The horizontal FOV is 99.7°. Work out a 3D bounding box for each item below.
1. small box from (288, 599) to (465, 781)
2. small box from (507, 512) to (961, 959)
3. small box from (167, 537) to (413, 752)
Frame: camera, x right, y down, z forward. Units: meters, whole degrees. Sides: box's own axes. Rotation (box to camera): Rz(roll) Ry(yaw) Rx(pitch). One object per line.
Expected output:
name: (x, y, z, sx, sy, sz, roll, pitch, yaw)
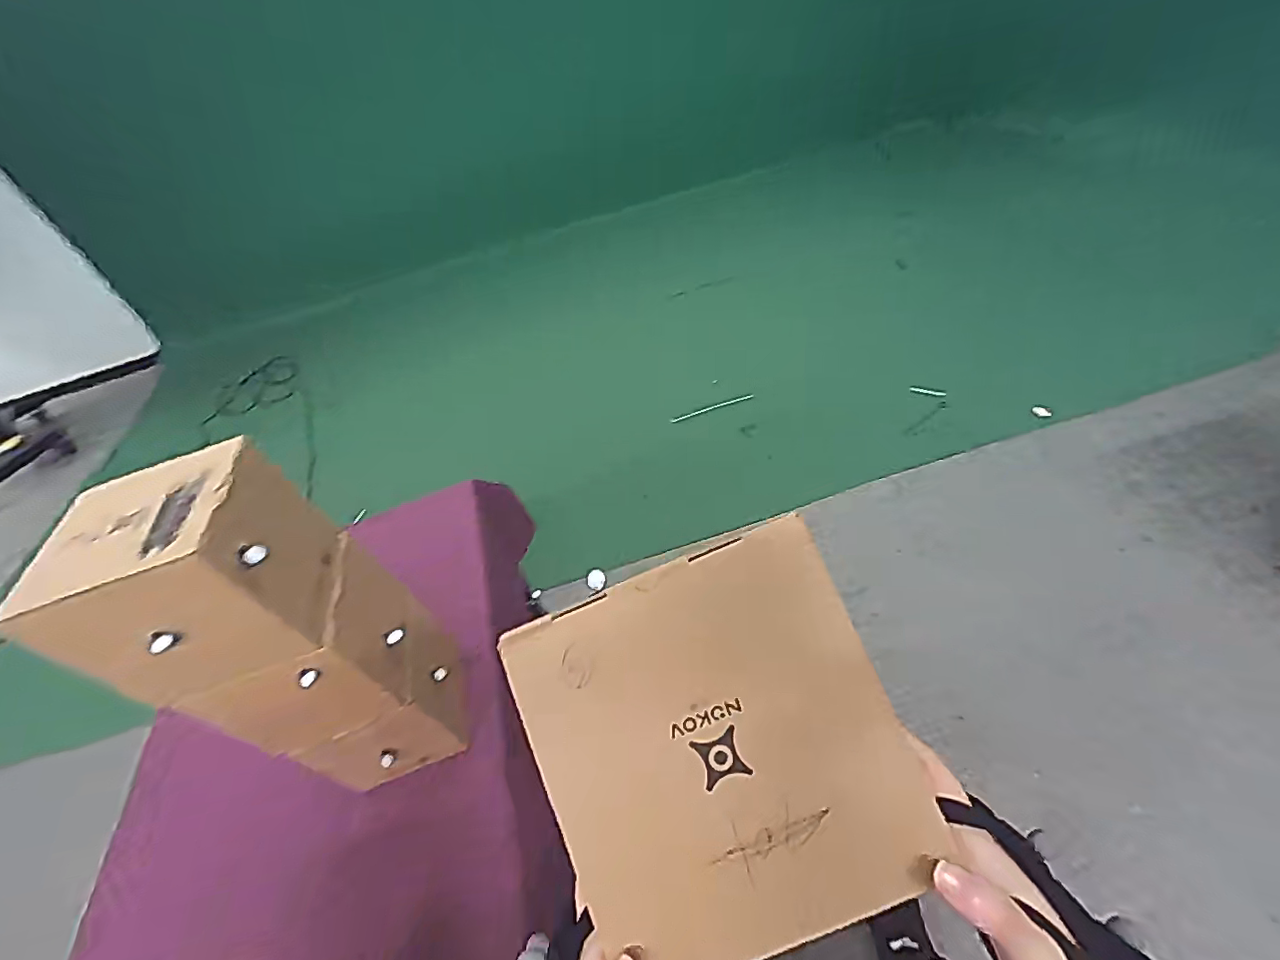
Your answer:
small box: (-0.368, 0.313, 0.788, 0.168, 0.176, 0.179, -21, 45, -4)
small box: (0.043, 0.136, 0.333, 0.168, 0.176, 0.179, -22, 80, 2)
small box: (-0.409, 0.206, 0.670, 0.179, 0.176, 0.168, -20, 44, -3)
